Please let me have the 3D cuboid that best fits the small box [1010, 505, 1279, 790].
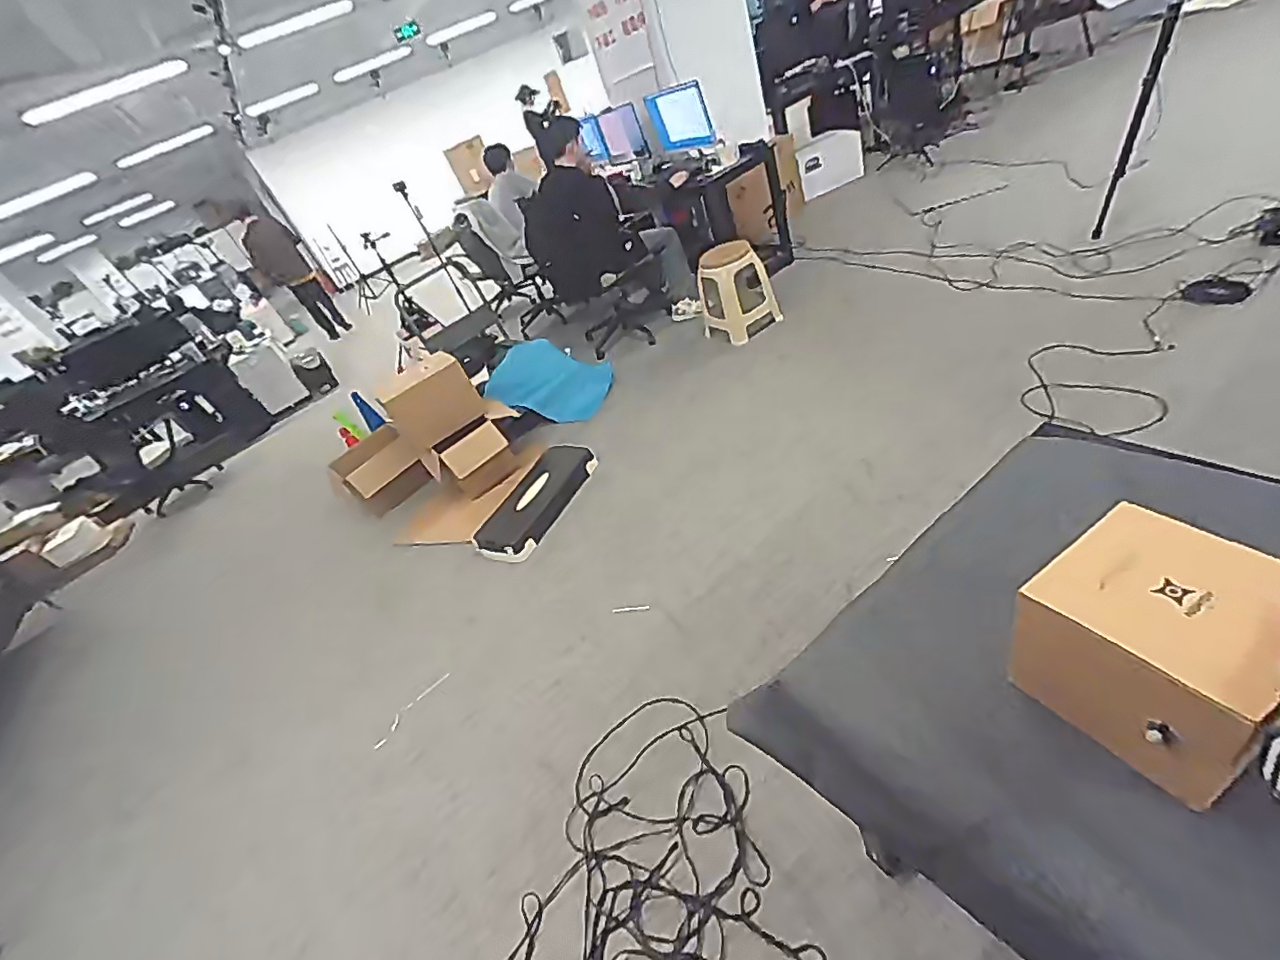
[{"bbox_3d":[0.498,0.162,0.522,0.168,0.176,0.179,-32,35,-13],"label":"small box"}]
